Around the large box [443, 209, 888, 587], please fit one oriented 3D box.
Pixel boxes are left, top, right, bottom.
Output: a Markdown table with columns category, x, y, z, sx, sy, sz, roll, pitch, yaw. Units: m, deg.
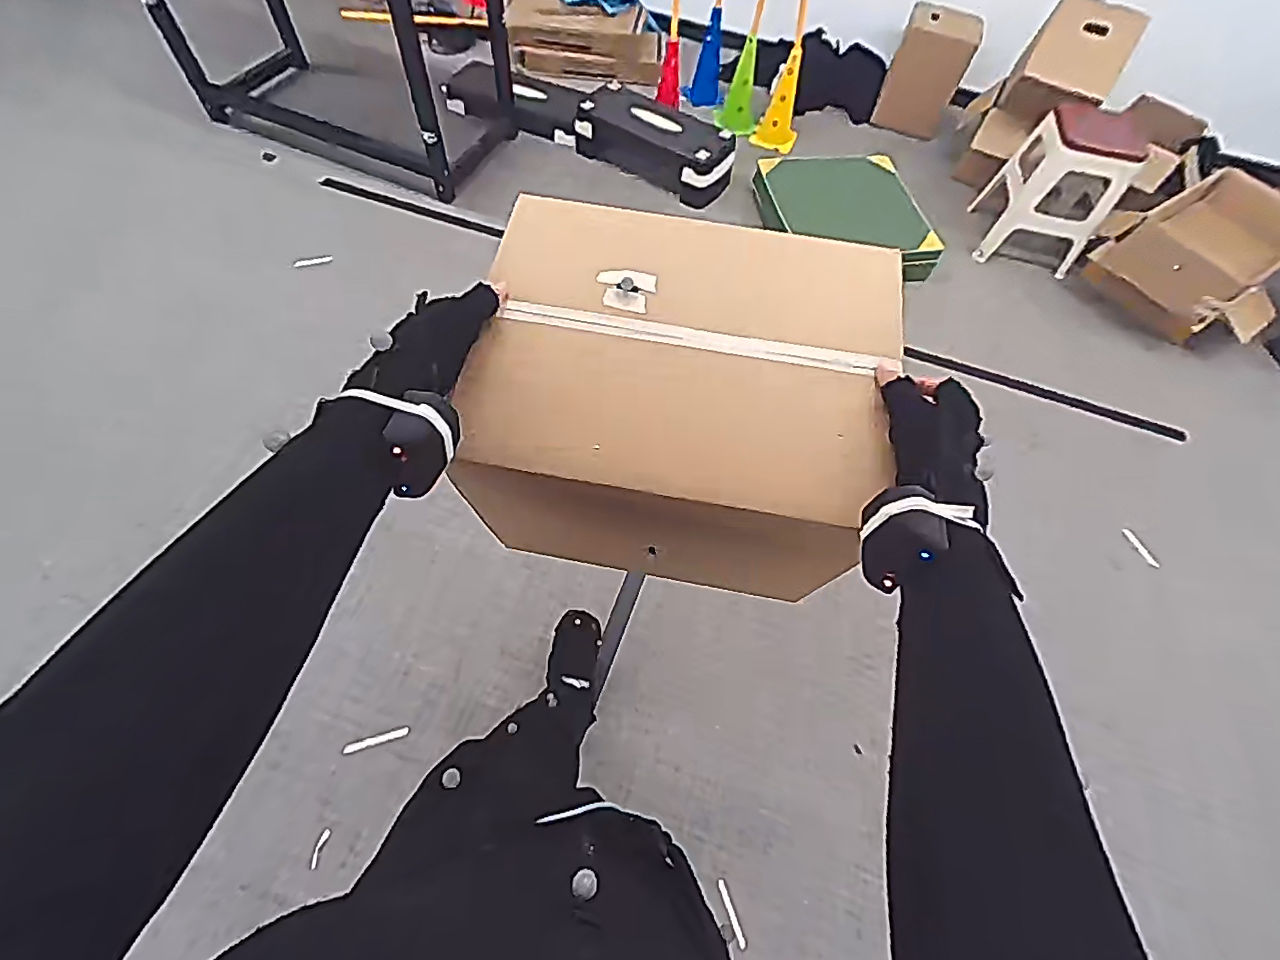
| category | x | y | z | sx | sy | sz | roll | pitch | yaw |
| --- | --- | --- | --- | --- | --- | --- | --- | --- | --- |
| large box | 0.044 | -0.075 | 0.667 | 0.408 | 0.320 | 0.320 | 10 | 67 | 4 |
